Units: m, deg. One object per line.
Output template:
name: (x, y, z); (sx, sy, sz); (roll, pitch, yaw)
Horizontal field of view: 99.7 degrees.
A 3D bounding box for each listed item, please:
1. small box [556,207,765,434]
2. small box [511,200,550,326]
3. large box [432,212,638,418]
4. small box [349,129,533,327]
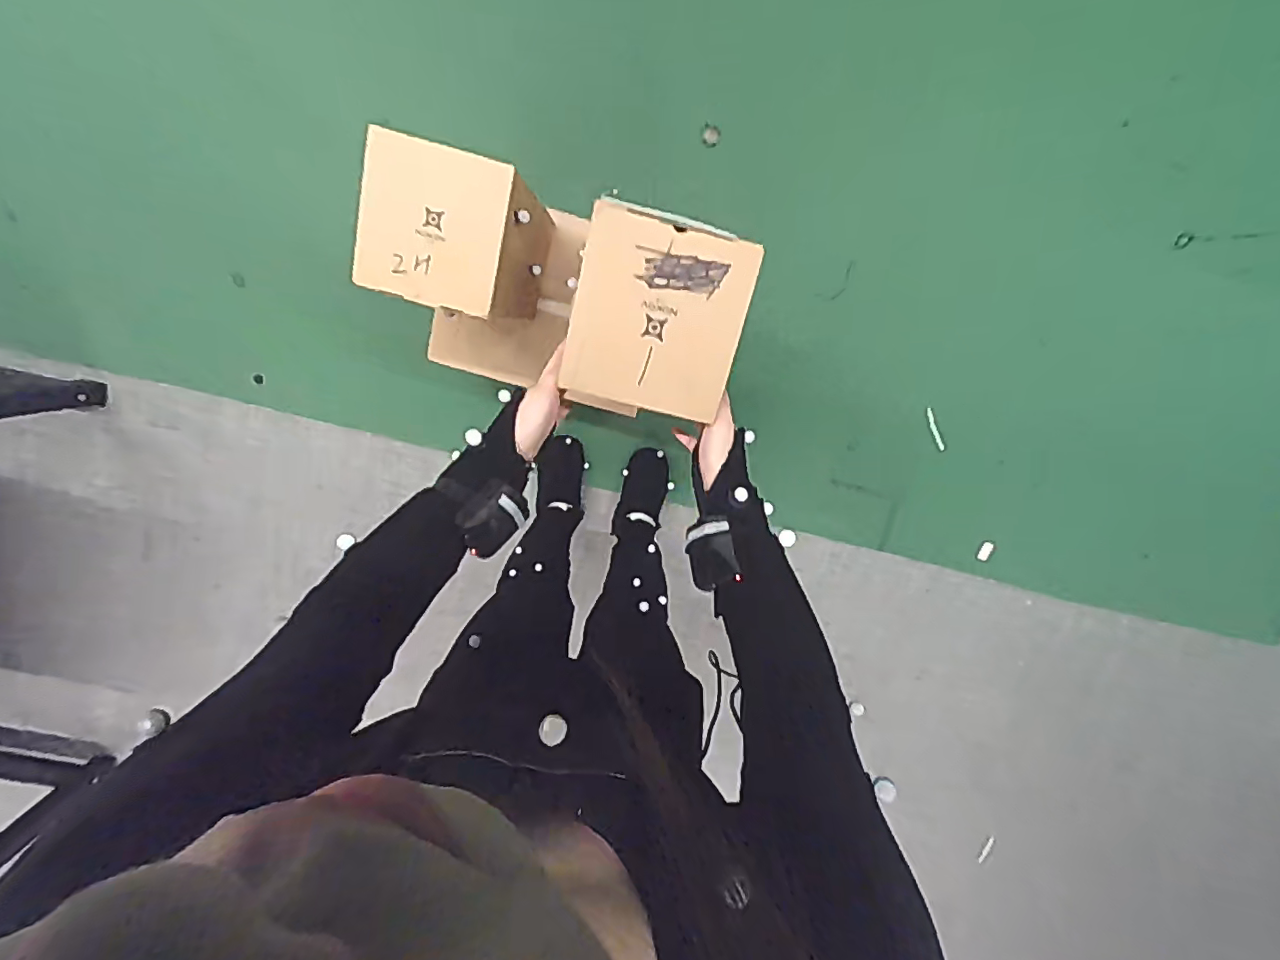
small box: (0.014, -0.166, 0.585); (0.168, 0.176, 0.179); (13, 105, -5)
small box: (-0.245, -0.353, 0.857); (0.168, 0.176, 0.179); (15, 104, -5)
large box: (-0.158, -0.342, 1.111); (0.408, 0.320, 0.320); (15, 105, -5)
small box: (-0.243, -0.306, 0.698); (0.168, 0.176, 0.179); (15, 104, -5)
